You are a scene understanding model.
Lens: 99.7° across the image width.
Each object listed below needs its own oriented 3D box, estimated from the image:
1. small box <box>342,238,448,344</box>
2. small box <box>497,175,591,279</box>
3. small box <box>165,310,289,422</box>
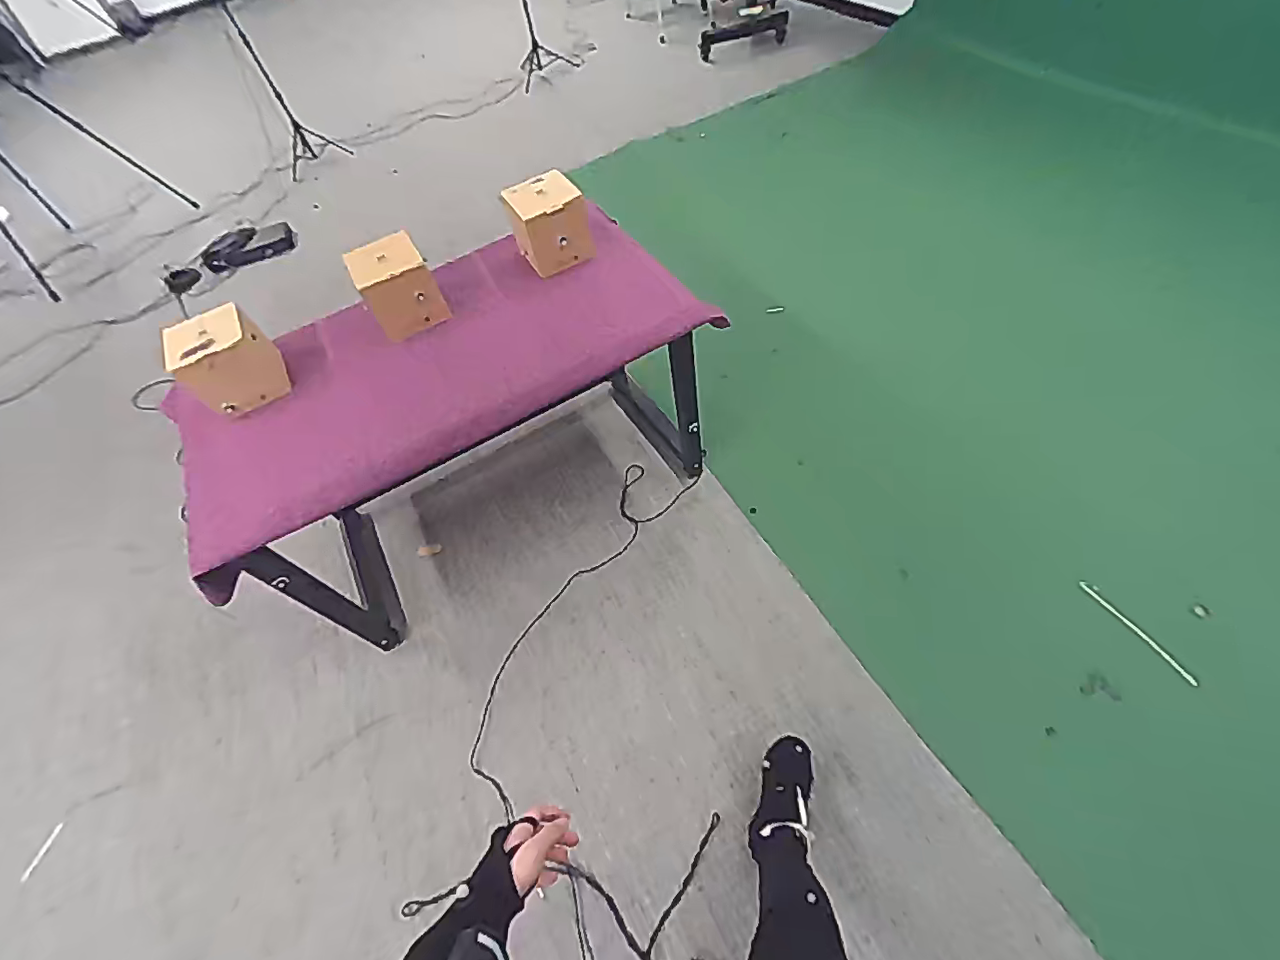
[{"bbox_3d":[-0.611,-0.468,1.364,0.168,0.176,0.179,-29,56,-11],"label":"small box"},{"bbox_3d":[-0.248,-0.660,1.430,0.168,0.176,0.179,-29,57,-10],"label":"small box"},{"bbox_3d":[-0.971,-0.260,1.281,0.168,0.176,0.179,-30,56,-12],"label":"small box"}]
